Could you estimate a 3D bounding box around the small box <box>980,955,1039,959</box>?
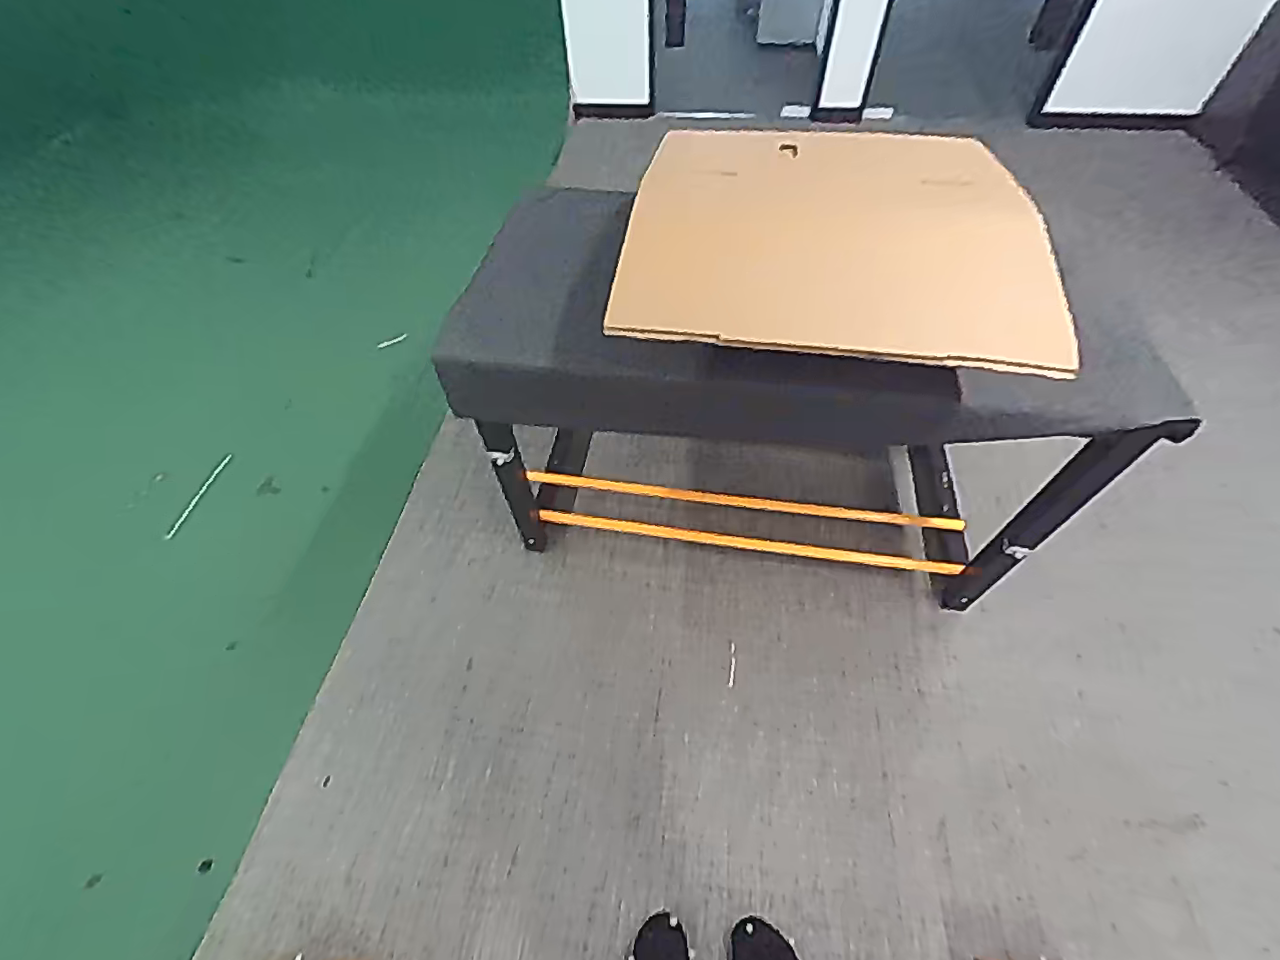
[{"bbox_3d":[0.698,0.906,0.888,0.168,0.176,0.179,2,53,3],"label":"small box"}]
